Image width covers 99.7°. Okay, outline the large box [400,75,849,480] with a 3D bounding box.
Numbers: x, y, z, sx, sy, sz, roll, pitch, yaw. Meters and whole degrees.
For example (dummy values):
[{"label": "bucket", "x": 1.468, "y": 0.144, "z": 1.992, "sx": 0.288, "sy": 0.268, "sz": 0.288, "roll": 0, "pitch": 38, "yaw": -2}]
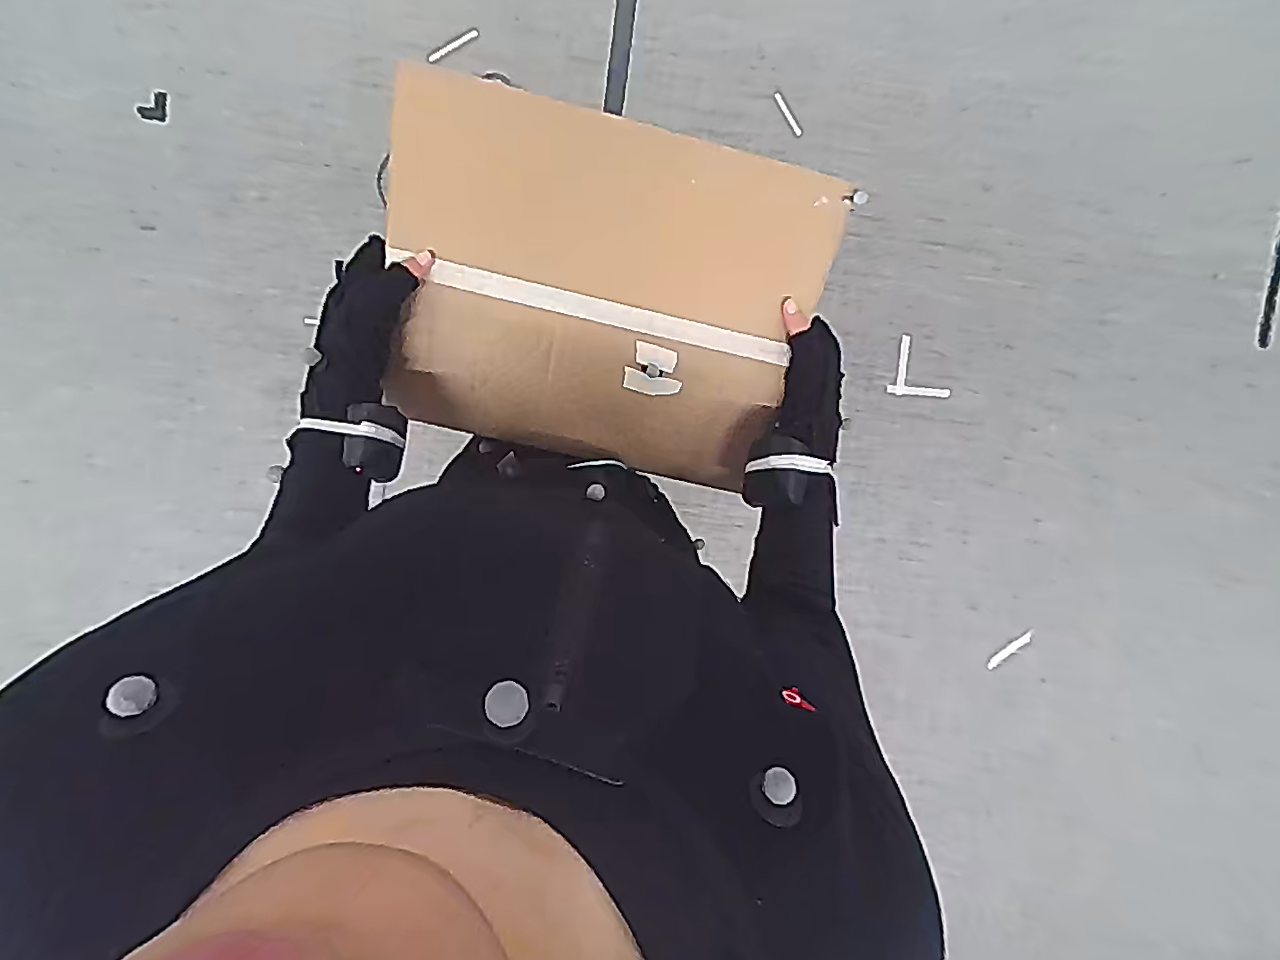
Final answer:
[{"label": "large box", "x": -0.034, "y": -0.234, "z": 0.672, "sx": 0.408, "sy": 0.320, "sz": 0.320, "roll": 13, "pitch": 115, "yaw": -5}]
